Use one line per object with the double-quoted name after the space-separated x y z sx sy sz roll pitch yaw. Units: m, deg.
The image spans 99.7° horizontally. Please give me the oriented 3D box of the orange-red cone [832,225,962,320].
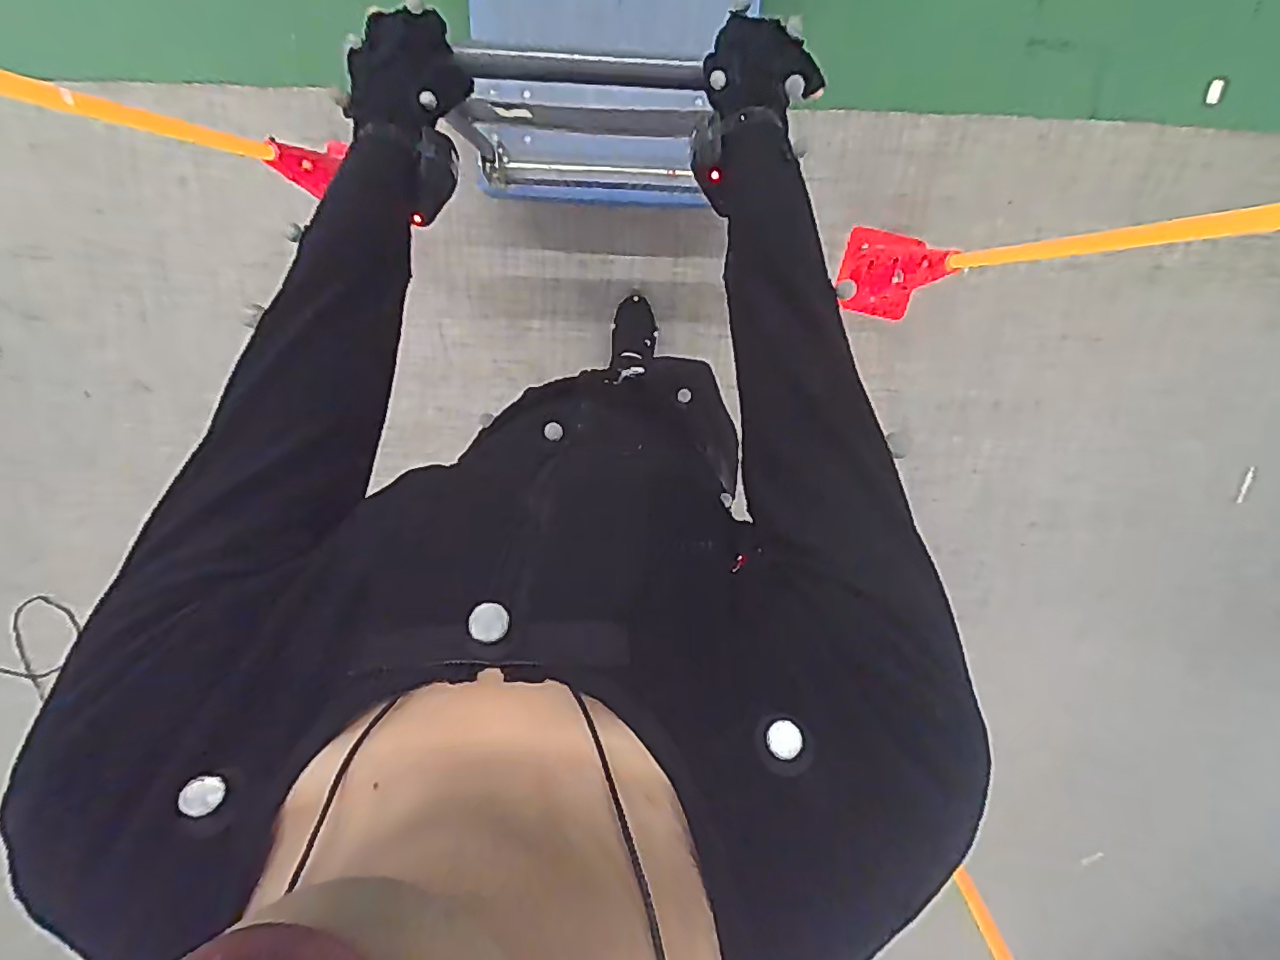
0.602 -0.470 1.202 0.198 0.360 0.199 13 107 -3 "orange-red cone"
